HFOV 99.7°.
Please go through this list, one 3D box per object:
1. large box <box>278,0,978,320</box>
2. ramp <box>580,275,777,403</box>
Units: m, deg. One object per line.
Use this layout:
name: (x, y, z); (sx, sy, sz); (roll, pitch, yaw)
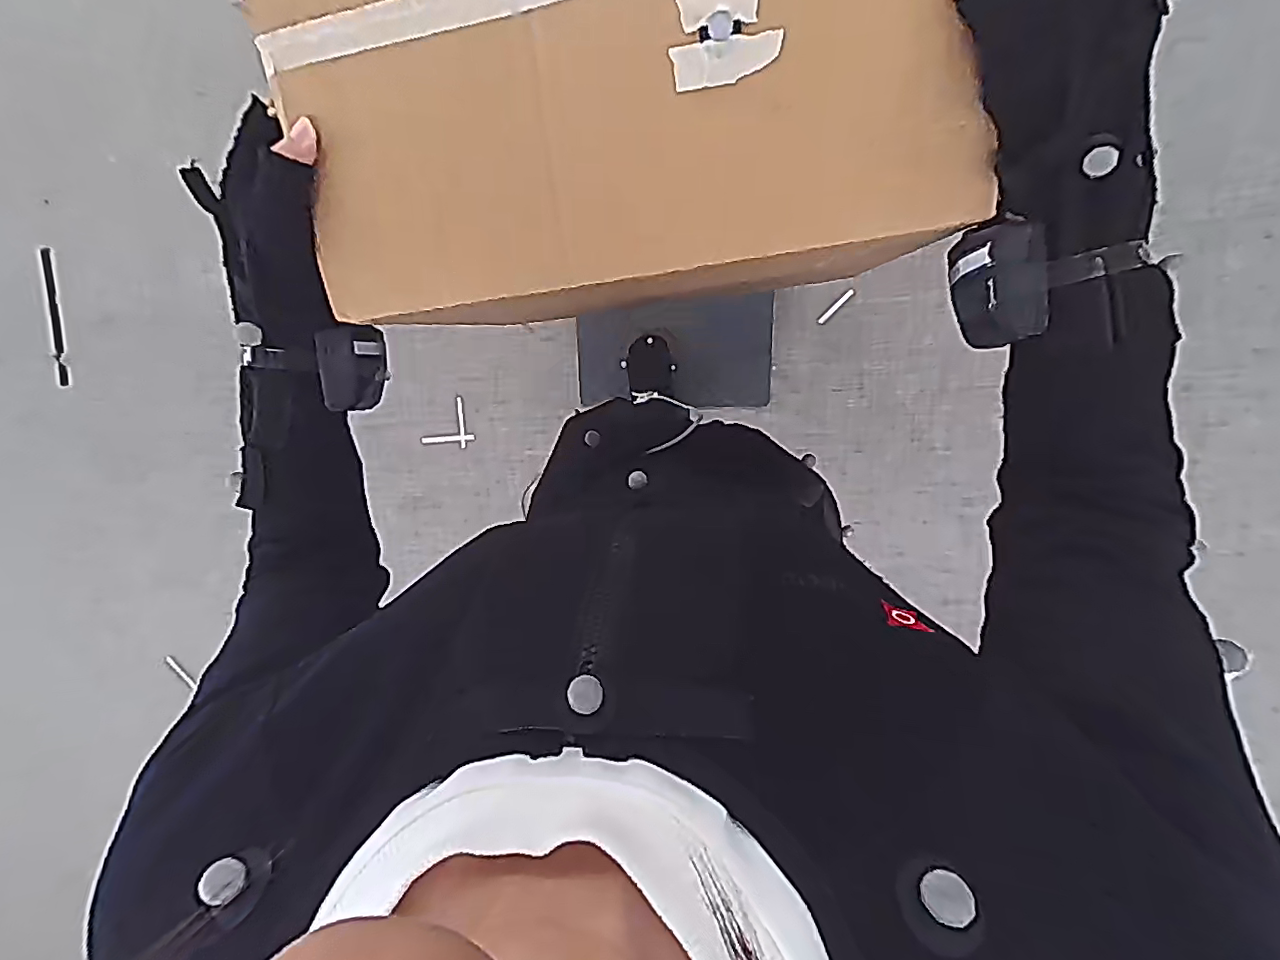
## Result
large box: (-0.005, -0.323, 0.447); (0.408, 0.320, 0.320); (-6, 105, 10)
ramp: (0.081, -0.677, 1.258); (0.509, 0.206, 0.991); (-1, 98, 7)
